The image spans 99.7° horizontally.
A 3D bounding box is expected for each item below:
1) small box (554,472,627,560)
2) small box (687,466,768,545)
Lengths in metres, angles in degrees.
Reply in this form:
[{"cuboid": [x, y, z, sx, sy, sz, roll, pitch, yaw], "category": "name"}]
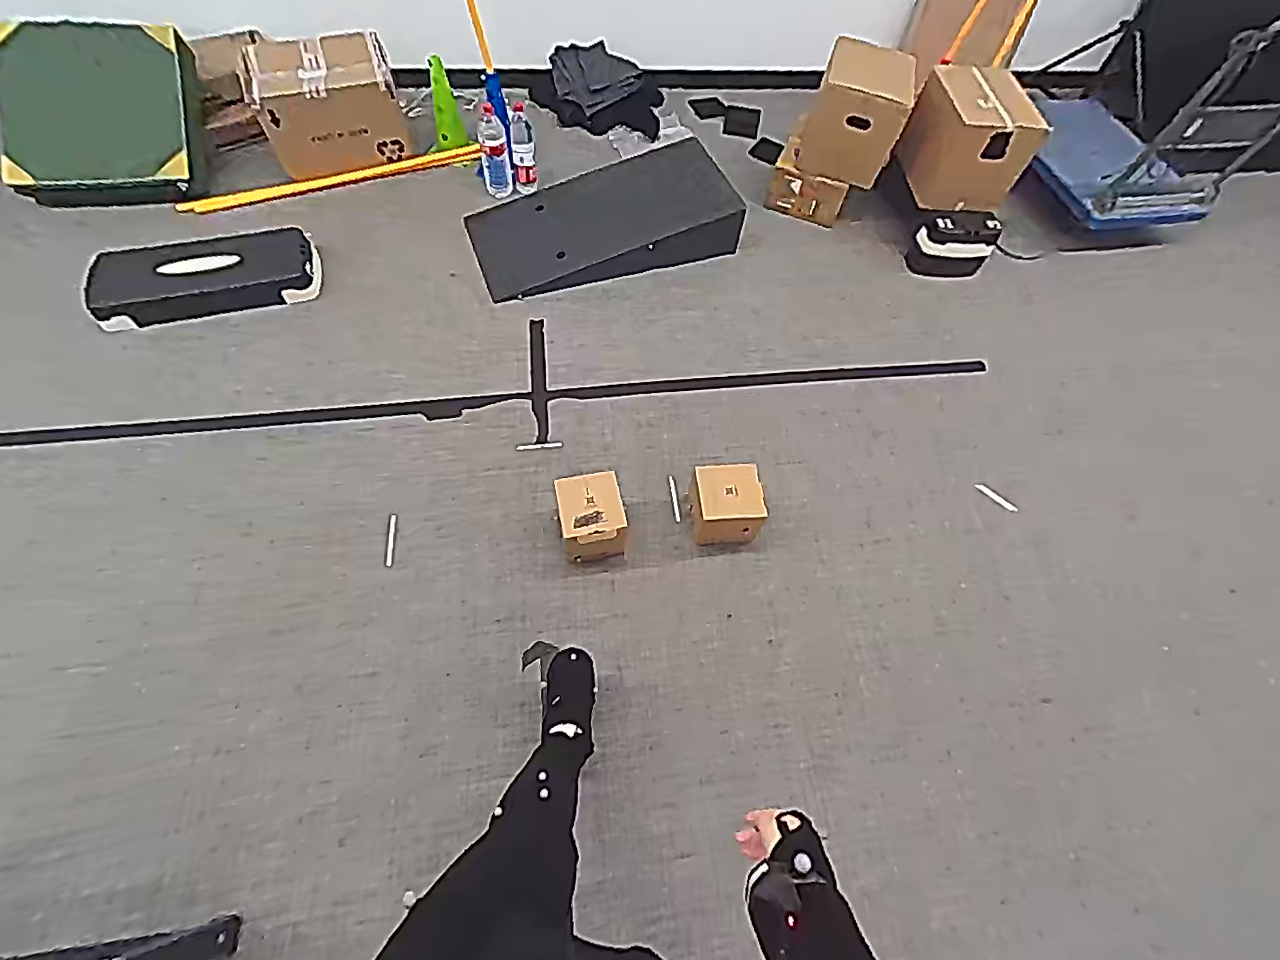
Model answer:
[{"cuboid": [-0.134, 0.104, 1.457, 0.168, 0.176, 0.179, -9, 61, -10], "category": "small box"}, {"cuboid": [0.237, 0.075, 1.508, 0.179, 0.176, 0.168, -2, 60, -6], "category": "small box"}]
